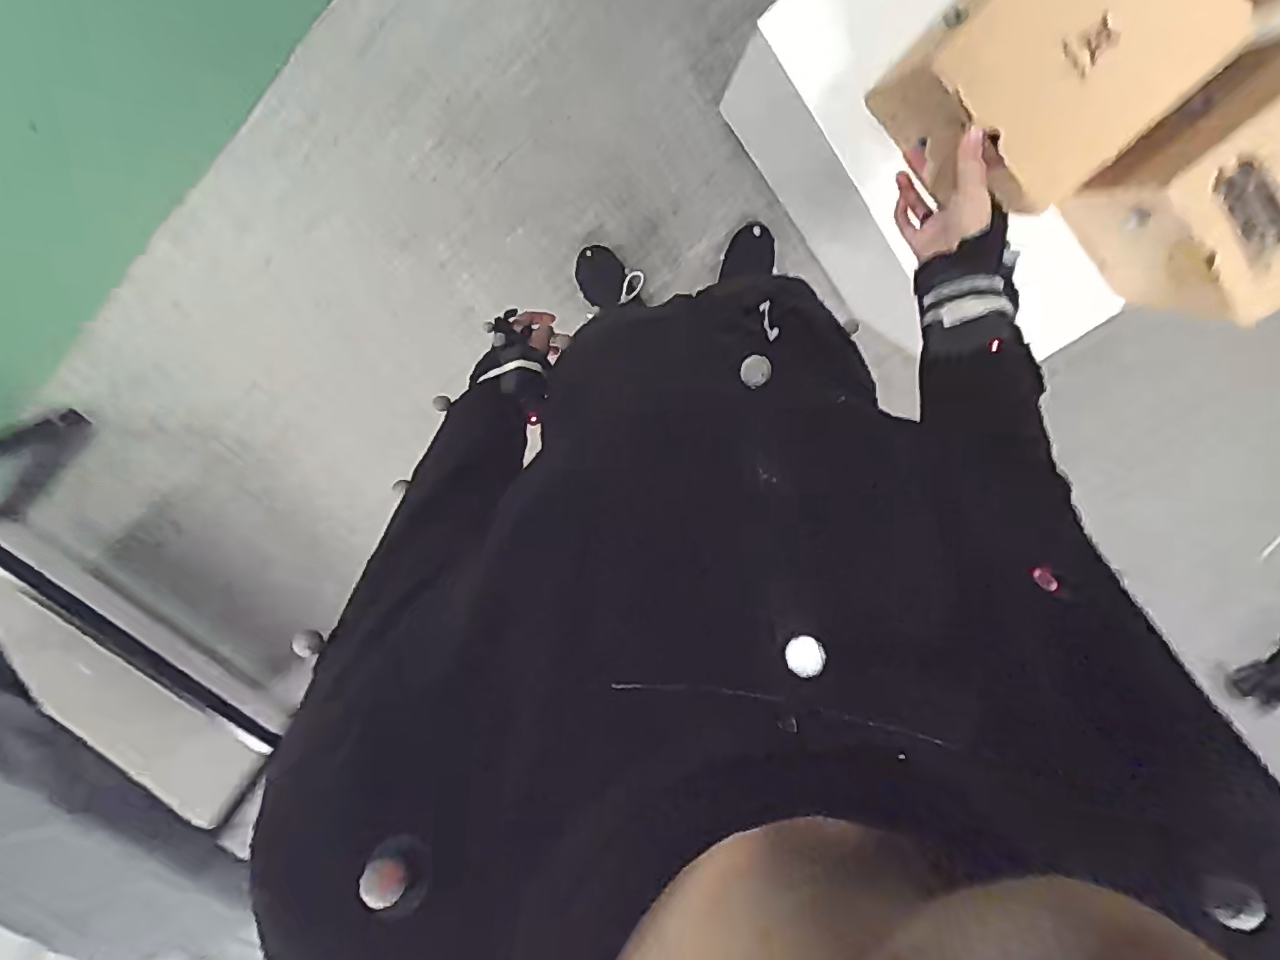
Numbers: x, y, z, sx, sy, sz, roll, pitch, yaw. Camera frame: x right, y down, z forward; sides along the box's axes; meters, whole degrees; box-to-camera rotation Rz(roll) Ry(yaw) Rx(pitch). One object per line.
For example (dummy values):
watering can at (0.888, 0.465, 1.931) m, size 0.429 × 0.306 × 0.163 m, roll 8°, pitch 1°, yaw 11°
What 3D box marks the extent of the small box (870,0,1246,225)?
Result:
small box at (0.346, -0.361, 0.487) m, size 0.168 × 0.176 × 0.179 m, roll 40°, pitch 112°, yaw -16°
